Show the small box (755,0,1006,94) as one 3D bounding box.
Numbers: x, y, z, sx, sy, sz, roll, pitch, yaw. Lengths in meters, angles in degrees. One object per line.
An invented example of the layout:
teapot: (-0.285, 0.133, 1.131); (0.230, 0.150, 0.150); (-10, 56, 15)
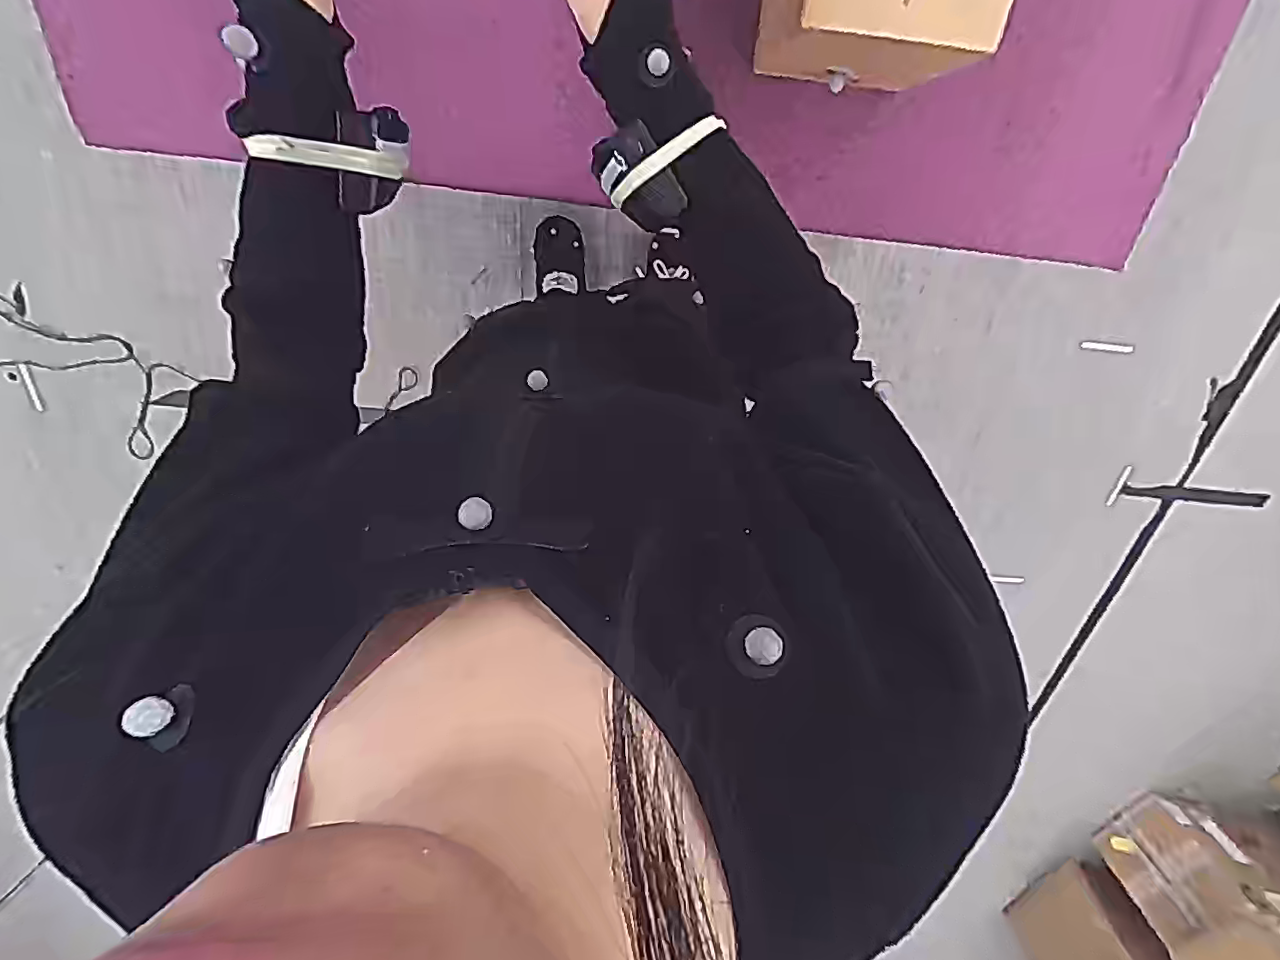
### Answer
small box: (0.209, -0.465, 0.470); (0.168, 0.176, 0.179); (4, 117, -5)
